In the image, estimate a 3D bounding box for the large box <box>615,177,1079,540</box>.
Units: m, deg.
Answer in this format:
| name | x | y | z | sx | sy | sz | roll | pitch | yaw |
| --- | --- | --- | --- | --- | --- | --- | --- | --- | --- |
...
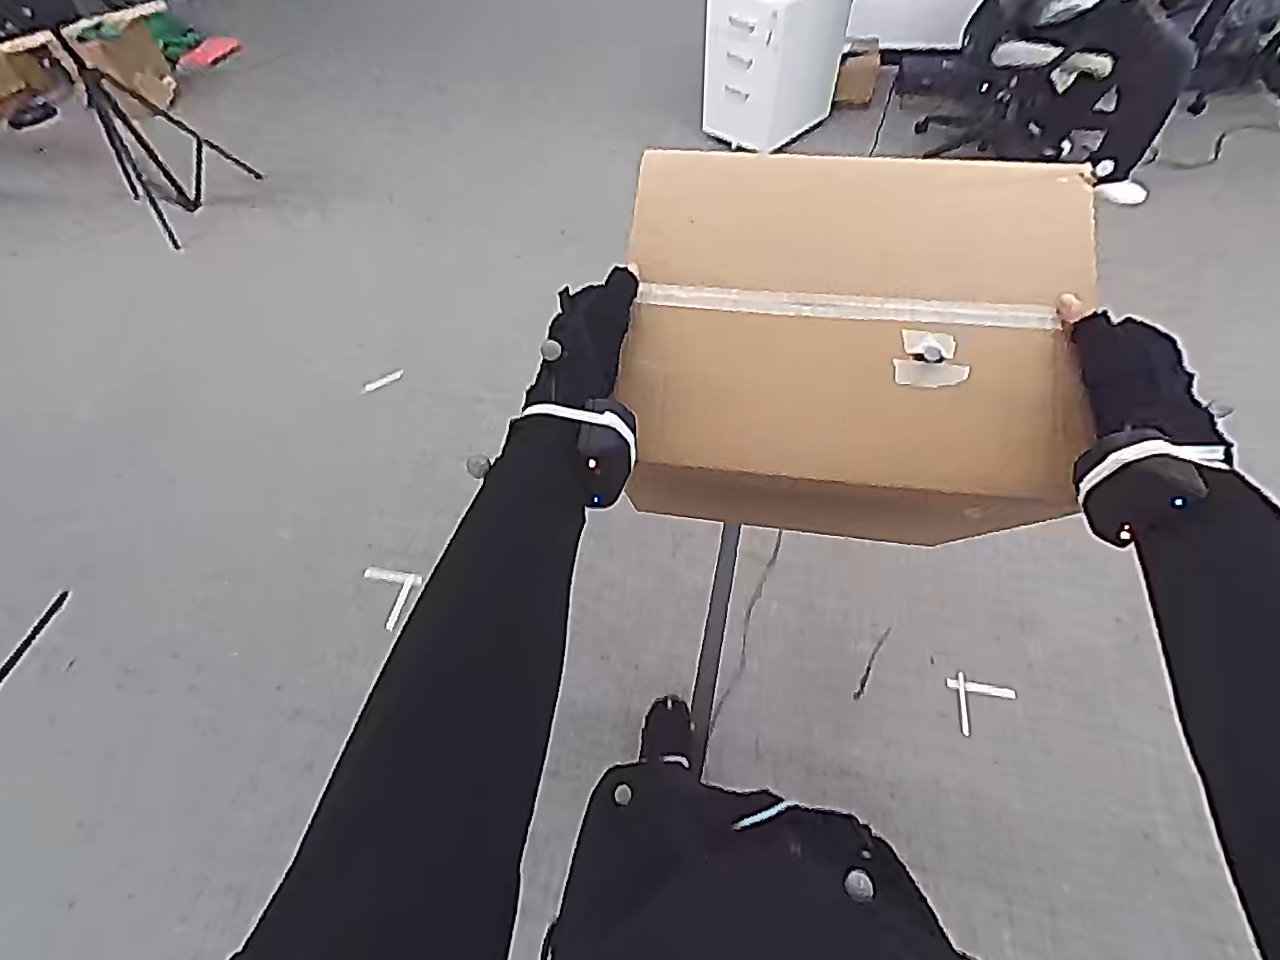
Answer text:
| name | x | y | z | sx | sy | sz | roll | pitch | yaw |
| --- | --- | --- | --- | --- | --- | --- | --- | --- | --- |
| large box | 0.198 | -0.113 | 0.645 | 0.408 | 0.320 | 0.320 | 6 | 80 | 6 |
